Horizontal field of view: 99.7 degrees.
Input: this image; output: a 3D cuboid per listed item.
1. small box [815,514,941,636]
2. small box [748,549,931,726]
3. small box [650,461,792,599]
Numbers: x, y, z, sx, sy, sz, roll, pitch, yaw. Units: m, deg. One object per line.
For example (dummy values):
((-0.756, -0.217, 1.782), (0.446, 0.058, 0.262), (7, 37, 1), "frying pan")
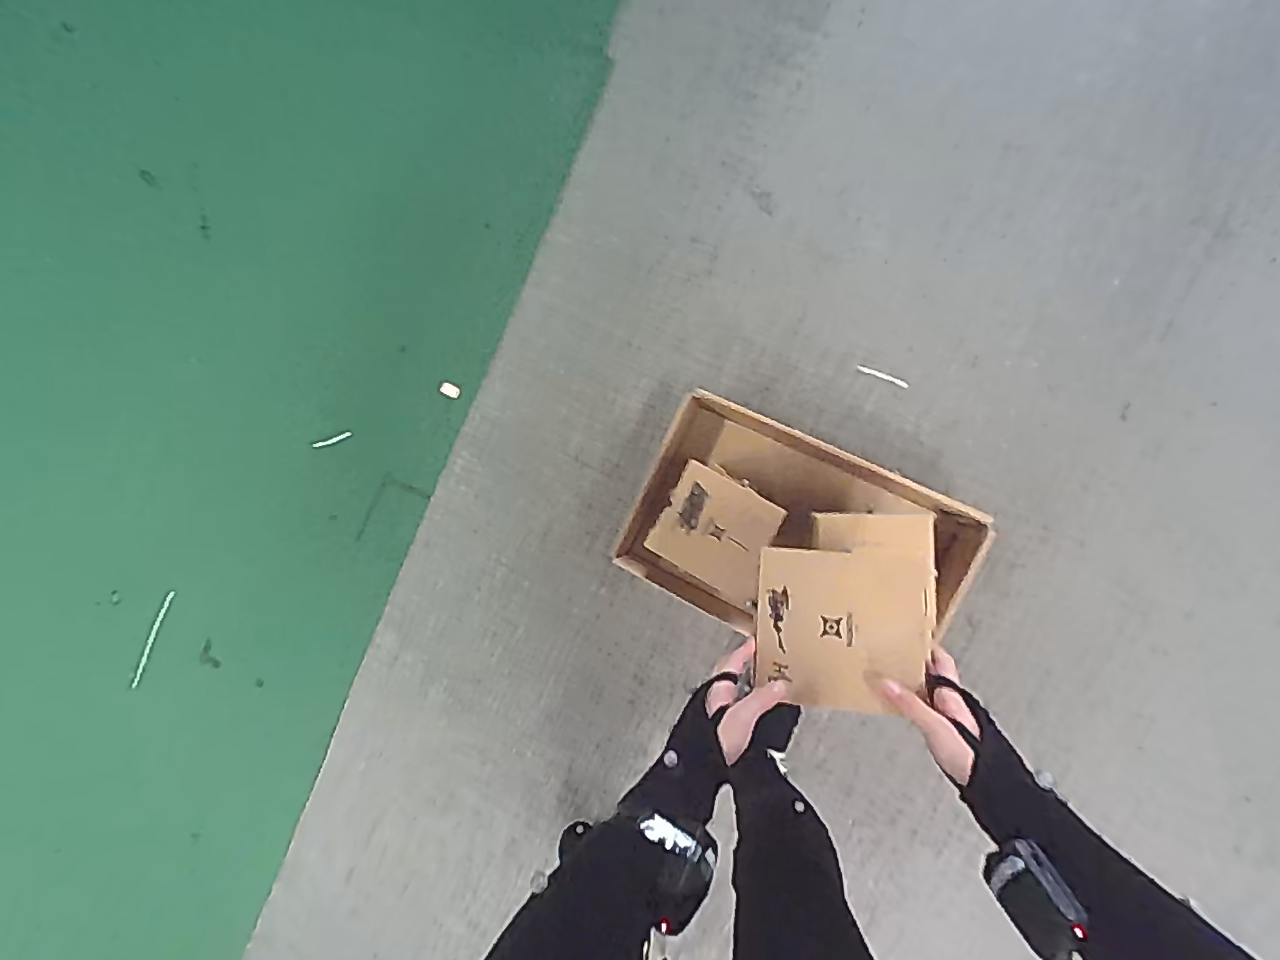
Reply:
((0.383, 0.147, 0.893), (0.168, 0.176, 0.179), (-1, 88, 13), "small box")
((0.224, 0.177, 0.644), (0.179, 0.176, 0.168), (3, 78, 11), "small box")
((0.142, 0.084, 0.949), (0.179, 0.176, 0.168), (30, 94, 10), "small box")
